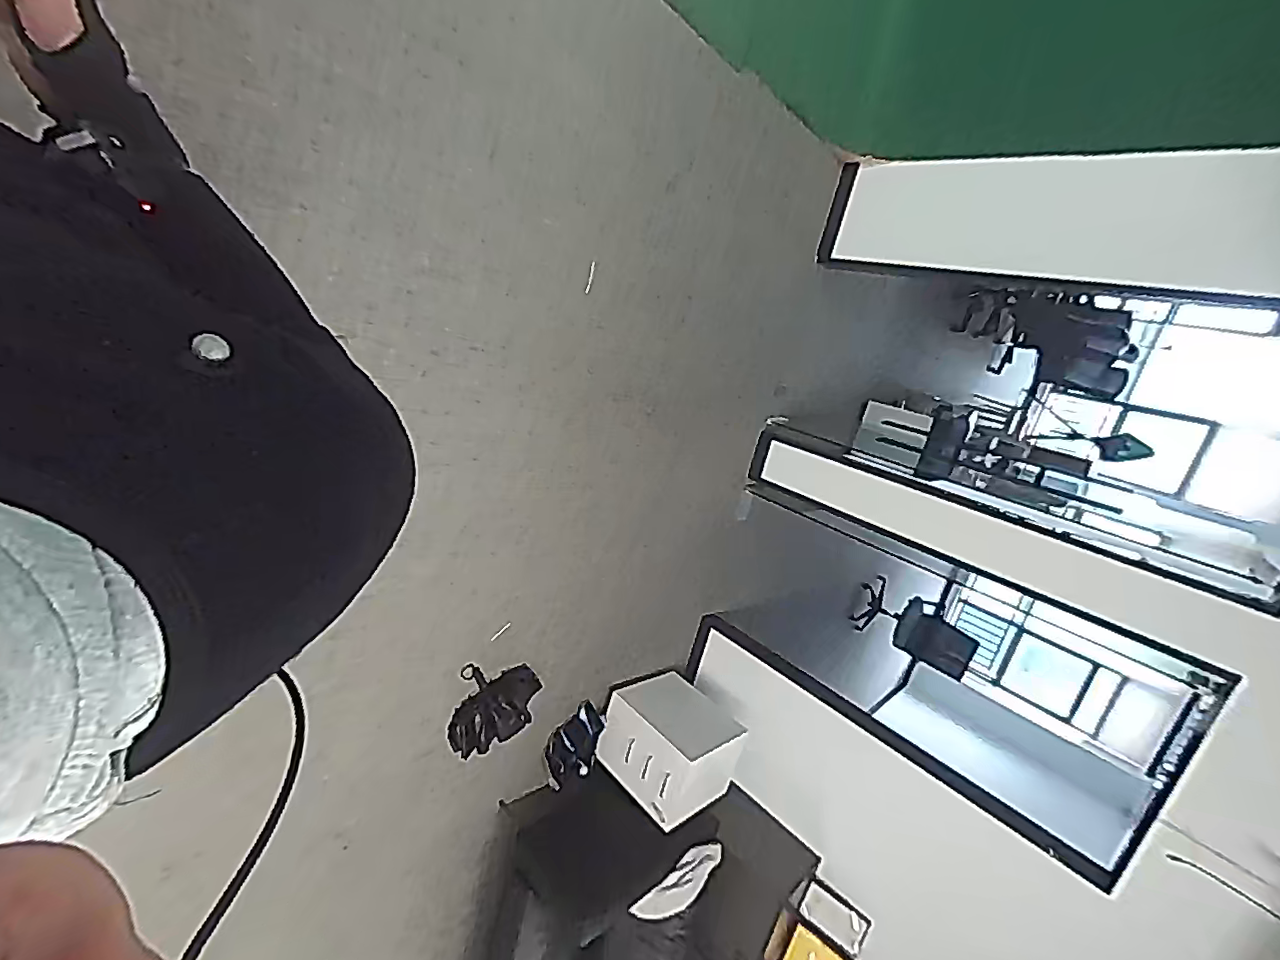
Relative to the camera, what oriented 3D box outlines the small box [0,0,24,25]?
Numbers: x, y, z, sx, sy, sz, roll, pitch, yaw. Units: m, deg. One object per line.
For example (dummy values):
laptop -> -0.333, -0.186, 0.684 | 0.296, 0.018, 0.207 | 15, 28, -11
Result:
small box -> -0.455, -0.350, 0.252 | 0.179, 0.176, 0.168 | -15, 118, -36
